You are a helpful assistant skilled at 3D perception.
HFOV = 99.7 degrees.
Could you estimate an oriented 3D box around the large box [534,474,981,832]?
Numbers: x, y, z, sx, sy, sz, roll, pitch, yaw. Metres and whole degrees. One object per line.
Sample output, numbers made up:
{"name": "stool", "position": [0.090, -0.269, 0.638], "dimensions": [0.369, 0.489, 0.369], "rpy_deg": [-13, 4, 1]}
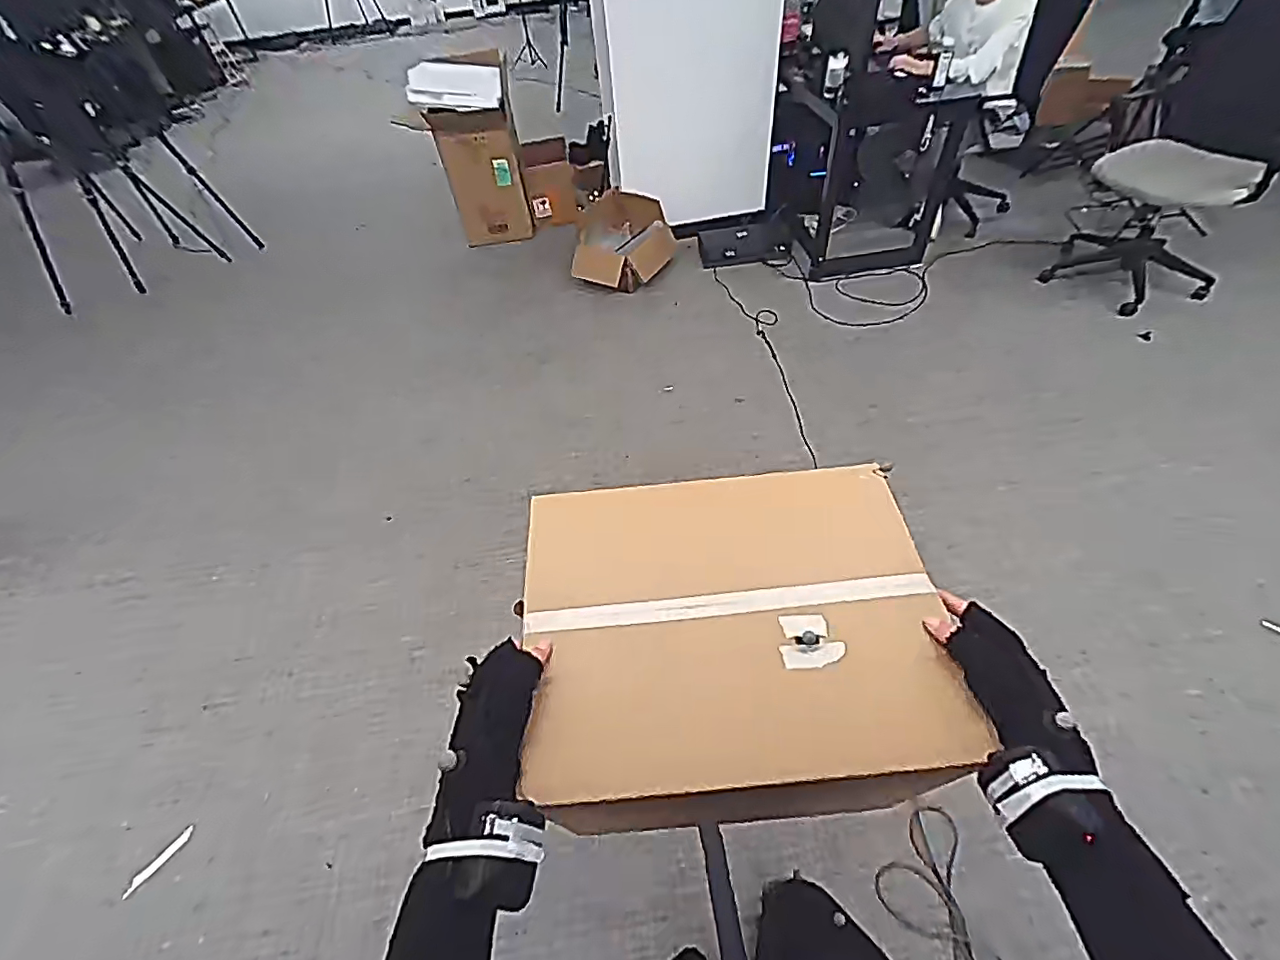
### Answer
{"name": "large box", "position": [0.097, 0.224, 0.675], "dimensions": [0.408, 0.320, 0.320], "rpy_deg": [-5, 53, -1]}
